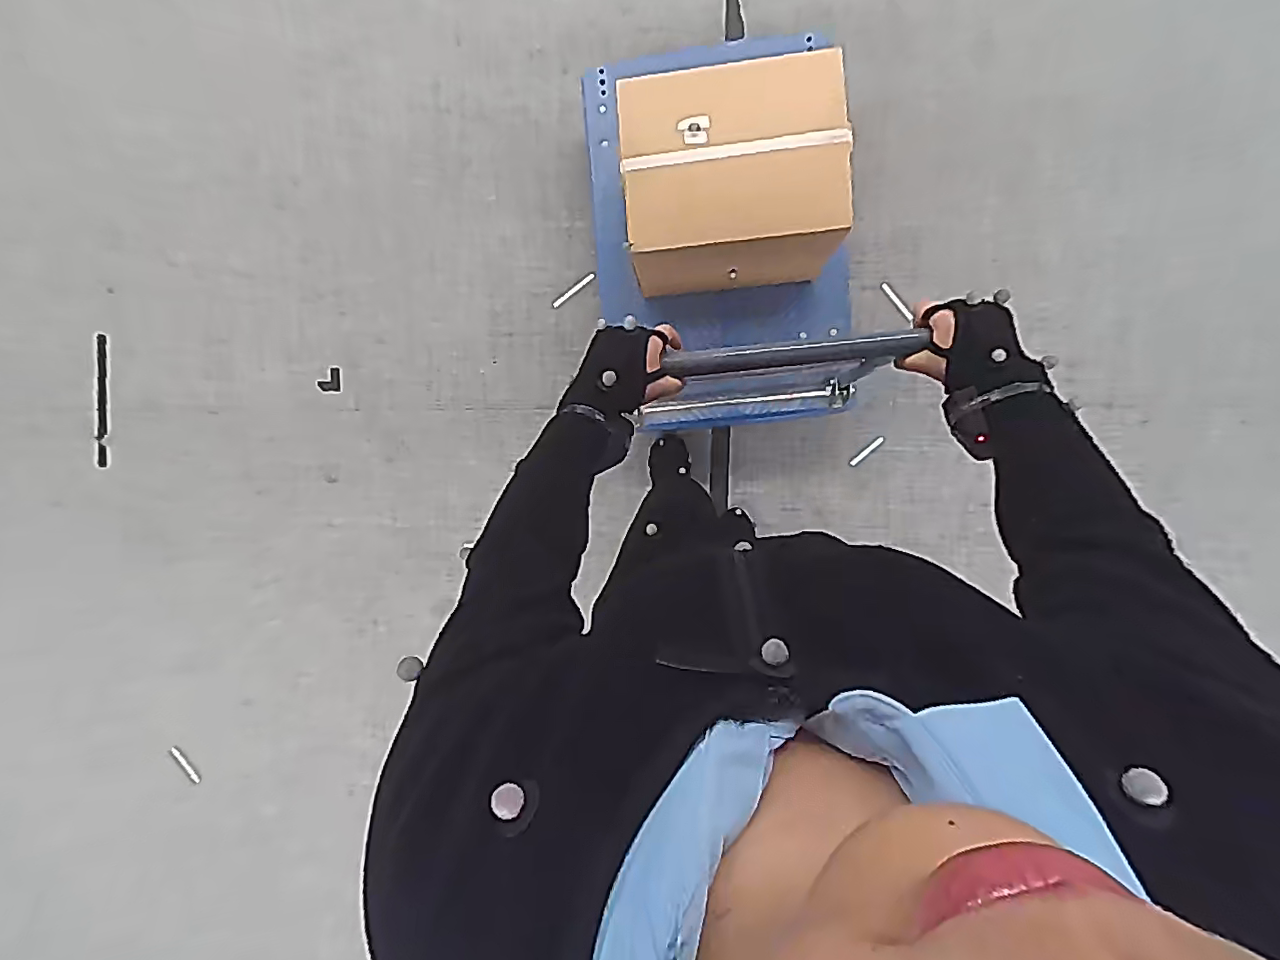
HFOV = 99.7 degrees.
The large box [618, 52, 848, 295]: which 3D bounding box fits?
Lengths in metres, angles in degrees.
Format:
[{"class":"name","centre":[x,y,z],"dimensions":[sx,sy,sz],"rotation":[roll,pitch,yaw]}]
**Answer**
[{"class":"large box","centre":[0.186,-0.607,1.143],"dimensions":[0.408,0.320,0.320],"rotation":[-5,92,7]}]
